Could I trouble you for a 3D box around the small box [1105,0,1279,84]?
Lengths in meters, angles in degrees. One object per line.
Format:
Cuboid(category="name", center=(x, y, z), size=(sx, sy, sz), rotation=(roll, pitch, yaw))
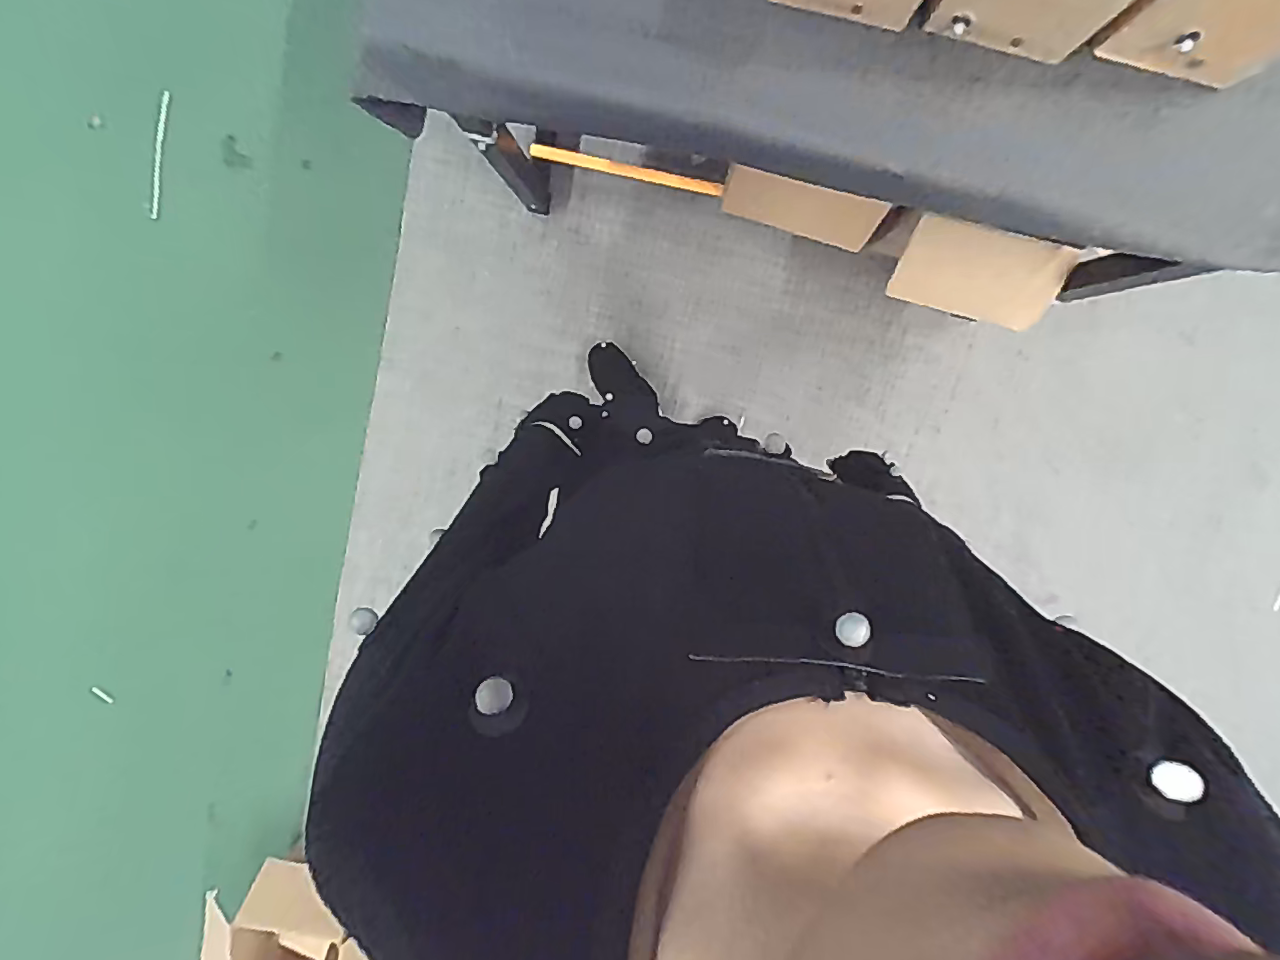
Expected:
Cuboid(category="small box", center=(0.624, -0.546, 0.533), size=(0.168, 0.176, 0.179), rotation=(15, 101, 0))
